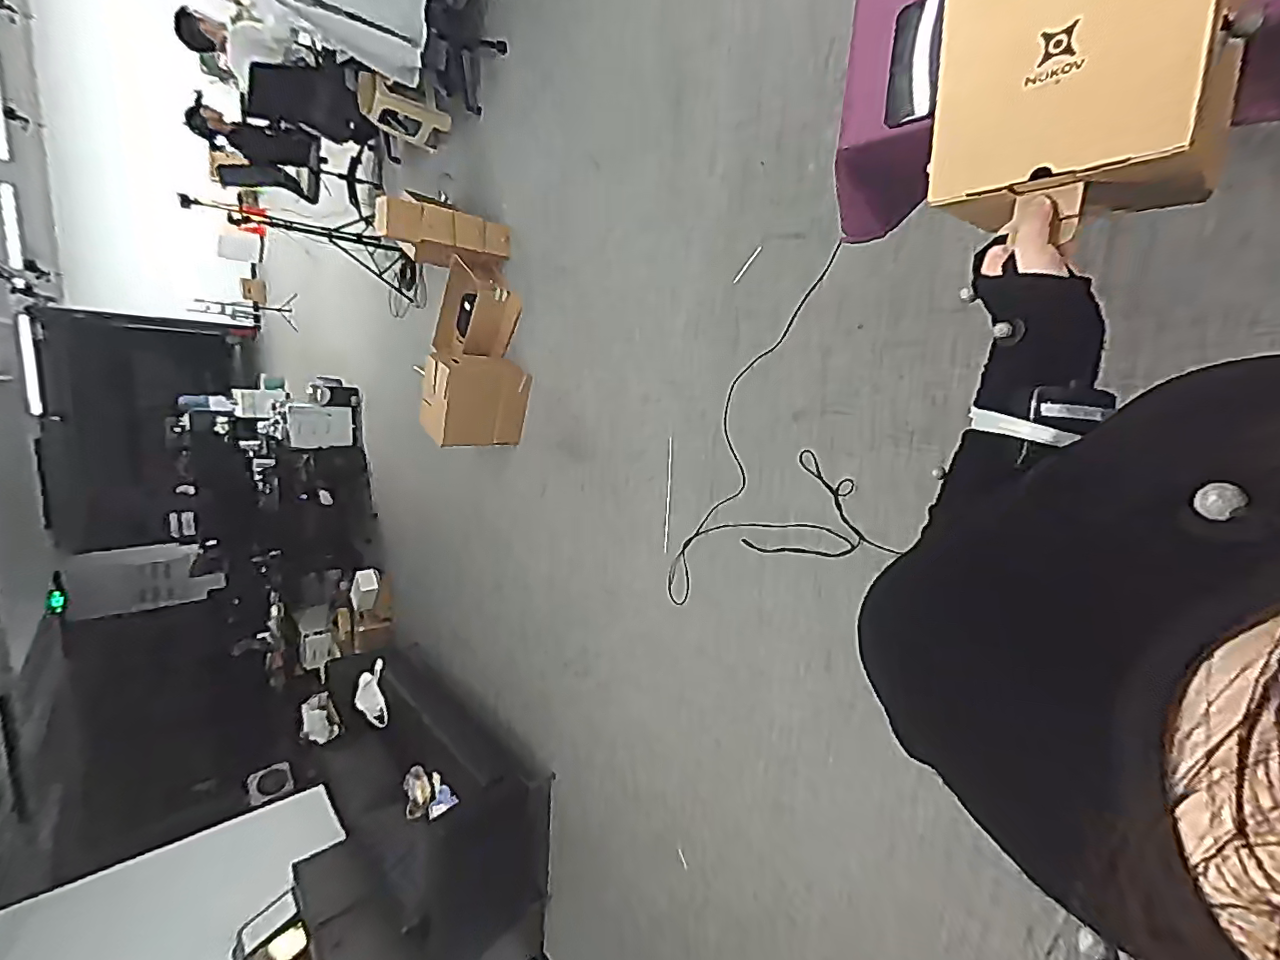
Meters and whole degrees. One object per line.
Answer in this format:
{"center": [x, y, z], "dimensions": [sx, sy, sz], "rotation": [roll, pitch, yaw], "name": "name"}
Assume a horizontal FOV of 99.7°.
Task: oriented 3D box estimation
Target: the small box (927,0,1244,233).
{"center": [0.365, -0.320, 0.448], "dimensions": [0.168, 0.176, 0.179], "rotation": [13, 109, 46], "name": "small box"}
